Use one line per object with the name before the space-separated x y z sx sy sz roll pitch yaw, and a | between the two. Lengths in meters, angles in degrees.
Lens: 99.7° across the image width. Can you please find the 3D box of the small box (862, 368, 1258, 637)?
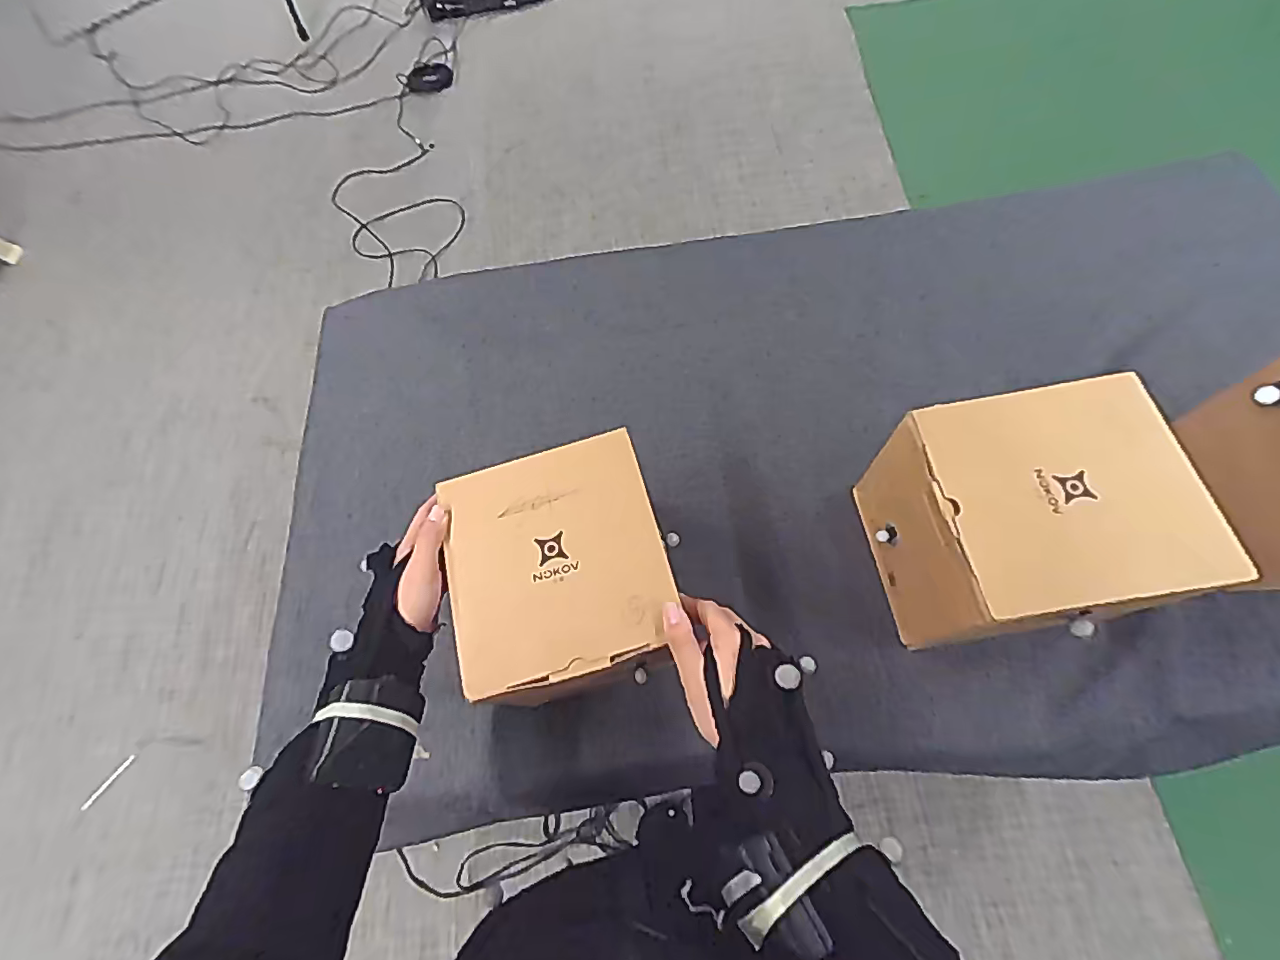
small box | 0.317 0.032 0.459 0.179 0.176 0.168 -10 67 3
